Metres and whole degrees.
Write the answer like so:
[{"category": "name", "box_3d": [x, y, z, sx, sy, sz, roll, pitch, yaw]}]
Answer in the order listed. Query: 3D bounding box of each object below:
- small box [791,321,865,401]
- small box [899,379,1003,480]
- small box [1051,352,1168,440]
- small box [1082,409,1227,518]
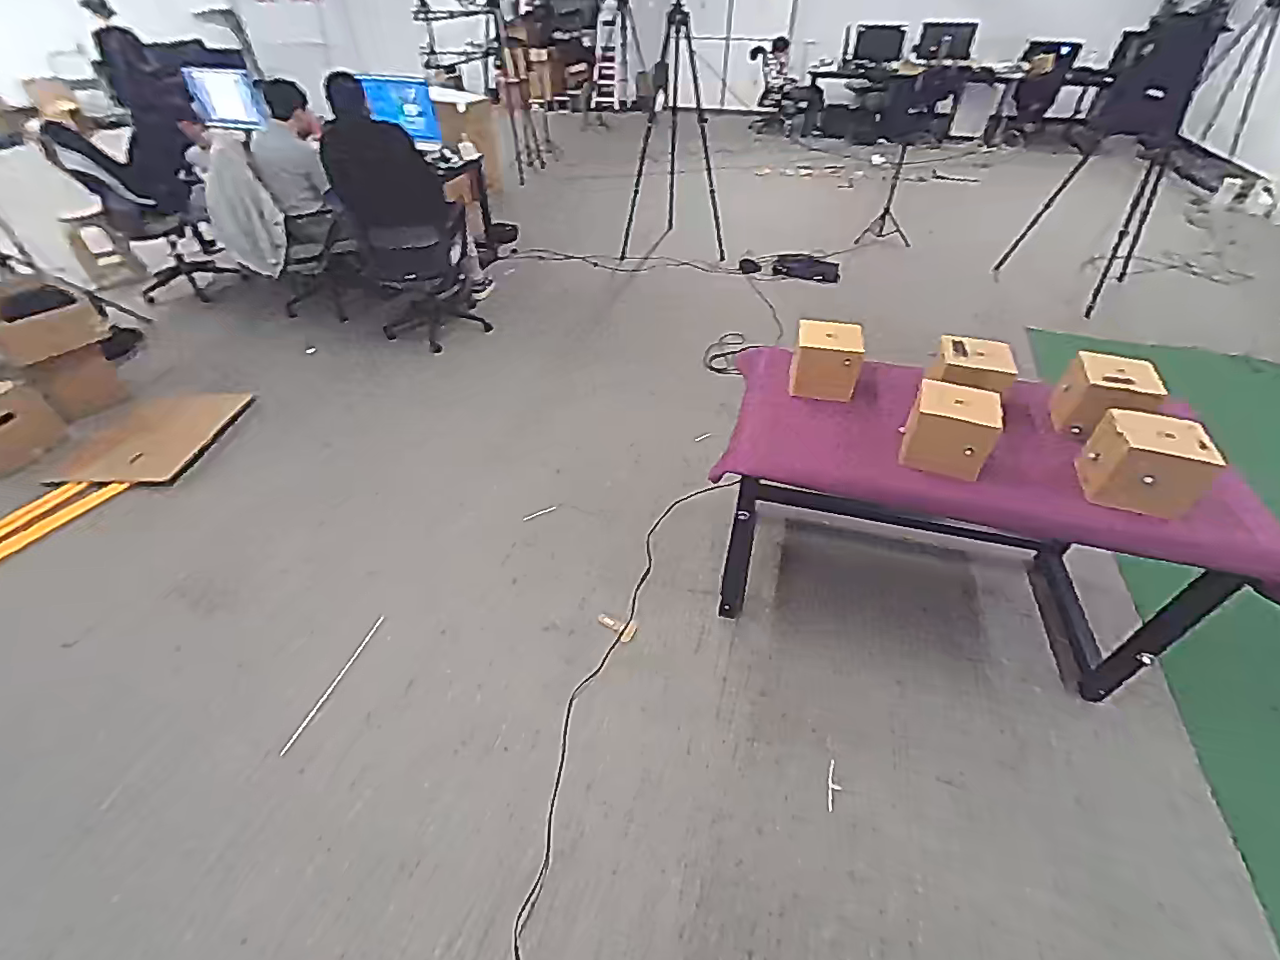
[{"category": "small box", "box_3d": [0.545, -0.348, 1.588, 0.179, 0.176, 0.168, 9, 44, 9]}, {"category": "small box", "box_3d": [0.768, -0.123, 1.341, 0.179, 0.176, 0.168, 16, 44, 19]}, {"category": "small box", "box_3d": [1.229, -0.213, 1.431, 0.168, 0.176, 0.179, 15, 44, 17]}, {"category": "small box", "box_3d": [1.156, -0.036, 1.238, 0.179, 0.176, 0.168, 14, 44, 17]}]
